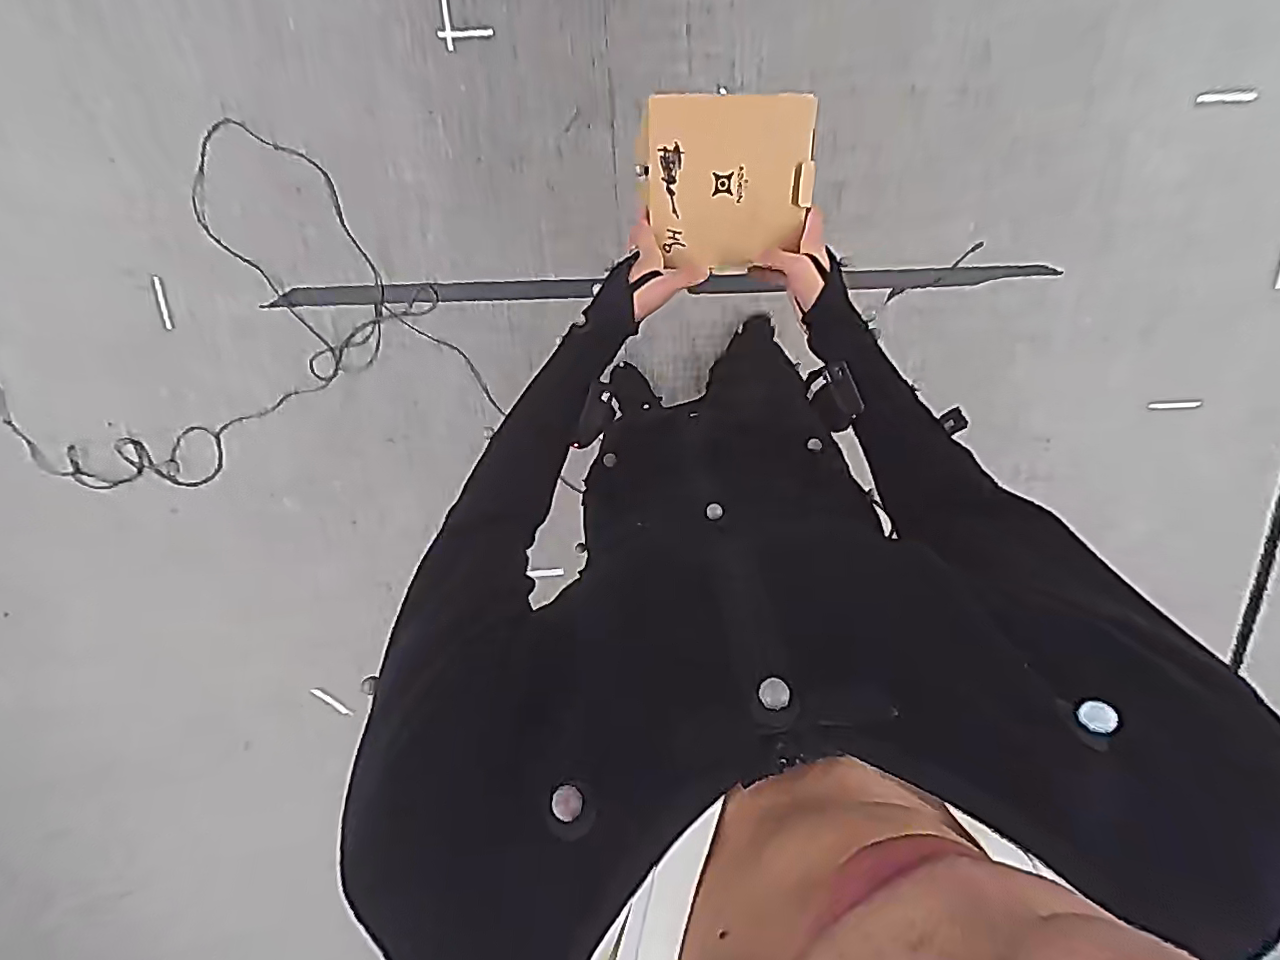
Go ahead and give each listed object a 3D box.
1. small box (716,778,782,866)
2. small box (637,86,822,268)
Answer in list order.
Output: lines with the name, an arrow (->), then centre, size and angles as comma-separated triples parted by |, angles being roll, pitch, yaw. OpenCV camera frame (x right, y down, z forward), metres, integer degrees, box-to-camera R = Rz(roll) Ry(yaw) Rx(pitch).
small box -> 0.338, 1.076, 1.705 | 0.168, 0.176, 0.179 | 0, 106, -3
small box -> 0.091, -0.342, 0.639 | 0.179, 0.176, 0.168 | -2, 111, -4
